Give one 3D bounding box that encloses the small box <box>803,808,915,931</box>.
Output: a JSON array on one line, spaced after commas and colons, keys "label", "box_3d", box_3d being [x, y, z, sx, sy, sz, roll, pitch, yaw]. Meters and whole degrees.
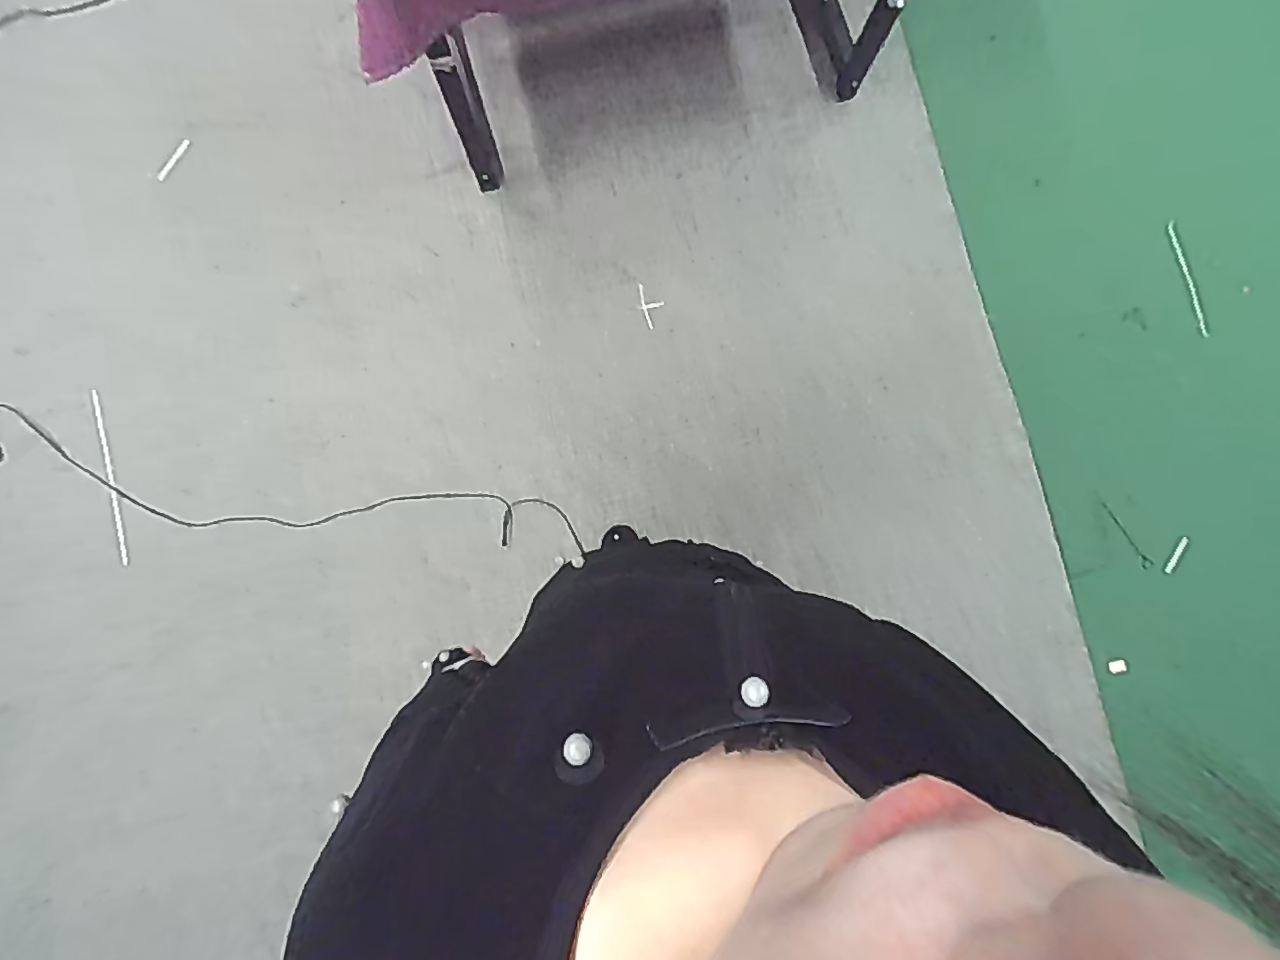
[{"label": "small box", "box_3d": [0.436, 0.781, 1.073, 0.168, 0.176, 0.179, -7, 87, -2]}]
